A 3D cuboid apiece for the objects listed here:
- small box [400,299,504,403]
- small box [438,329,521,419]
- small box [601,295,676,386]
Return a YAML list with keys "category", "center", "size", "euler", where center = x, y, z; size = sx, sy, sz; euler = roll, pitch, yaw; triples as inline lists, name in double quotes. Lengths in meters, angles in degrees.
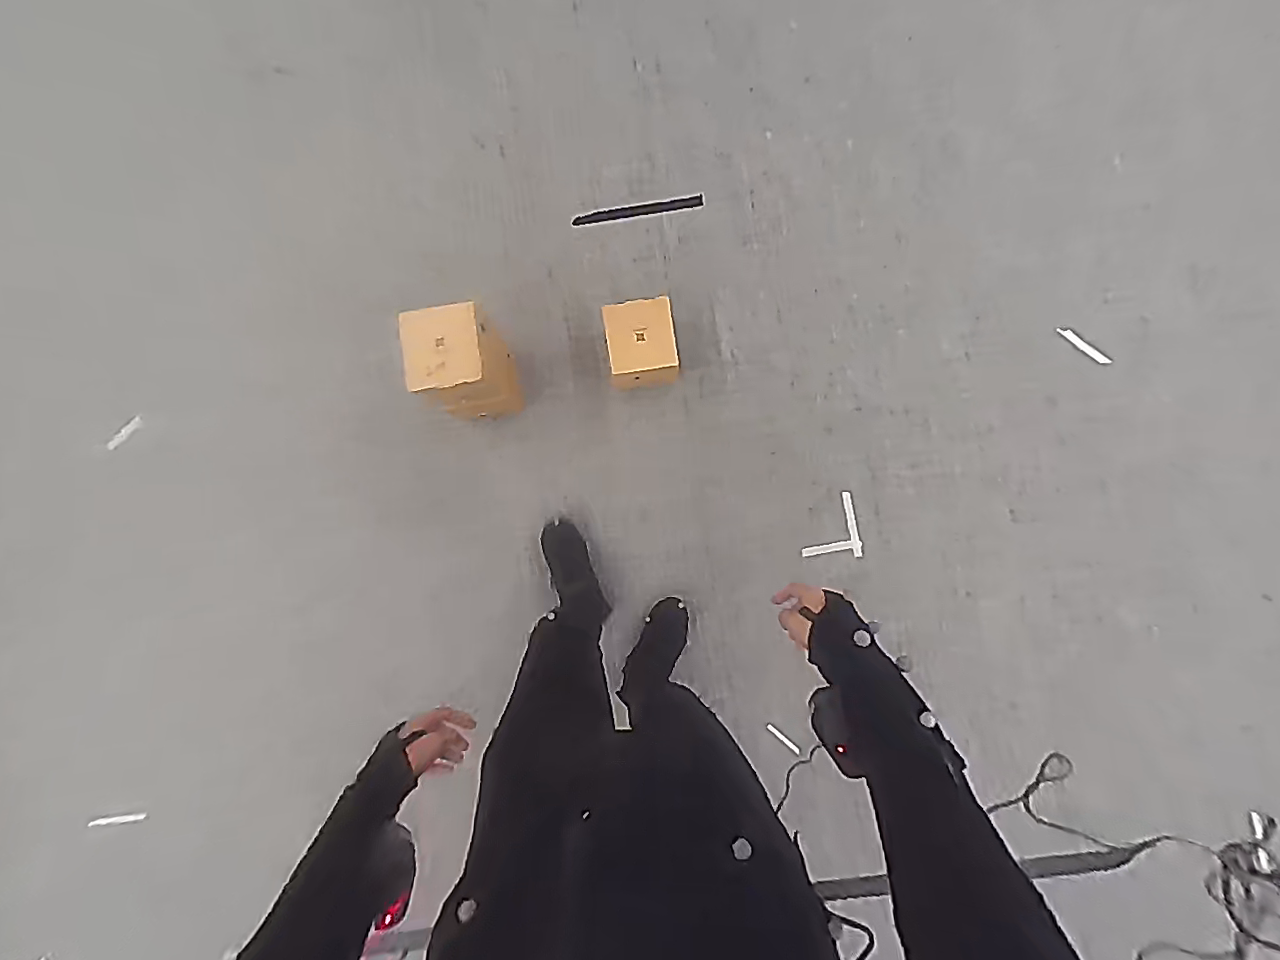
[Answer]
- category: "small box"
  center: [-0.418, -0.285, 1.225]
  size: [0.168, 0.176, 0.179]
  euler: [-8, 87, 2]
- category: "small box"
  center: [-0.412, -0.266, 1.388]
  size: [0.168, 0.176, 0.179]
  euler: [-8, 86, 2]
- category: "small box"
  center: [-0.001, -0.348, 1.386]
  size: [0.168, 0.176, 0.179]
  euler: [-9, 86, 0]
